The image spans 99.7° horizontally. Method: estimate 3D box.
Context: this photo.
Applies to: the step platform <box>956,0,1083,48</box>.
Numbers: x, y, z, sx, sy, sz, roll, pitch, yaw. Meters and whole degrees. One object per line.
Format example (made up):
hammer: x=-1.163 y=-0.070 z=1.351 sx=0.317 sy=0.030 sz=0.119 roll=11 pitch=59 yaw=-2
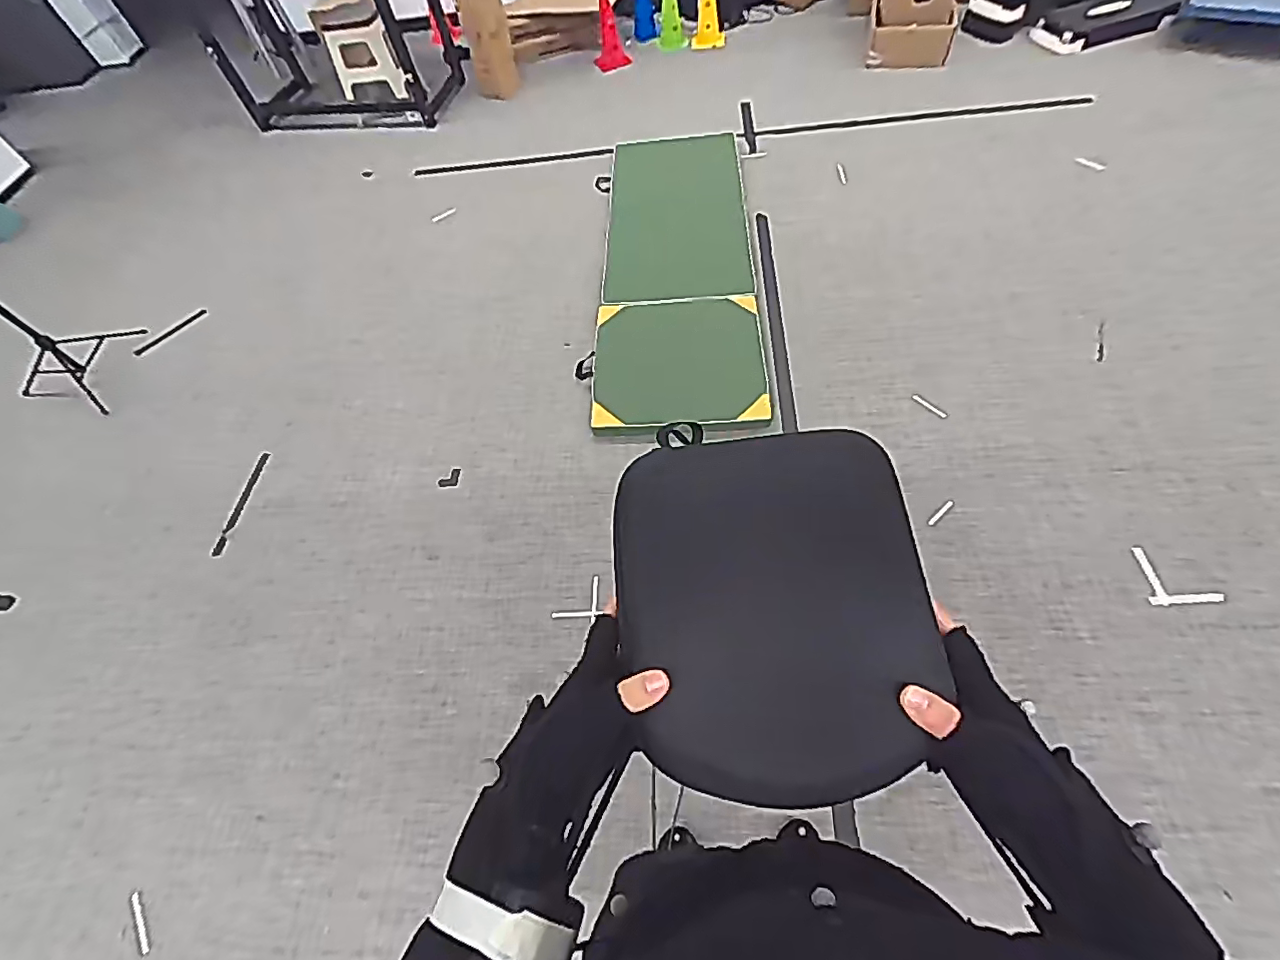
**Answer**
step platform: x=2.119 y=-2.631 z=2.976 sx=0.684 sy=0.204 sz=0.286 roll=-28 pitch=59 yaw=-9
